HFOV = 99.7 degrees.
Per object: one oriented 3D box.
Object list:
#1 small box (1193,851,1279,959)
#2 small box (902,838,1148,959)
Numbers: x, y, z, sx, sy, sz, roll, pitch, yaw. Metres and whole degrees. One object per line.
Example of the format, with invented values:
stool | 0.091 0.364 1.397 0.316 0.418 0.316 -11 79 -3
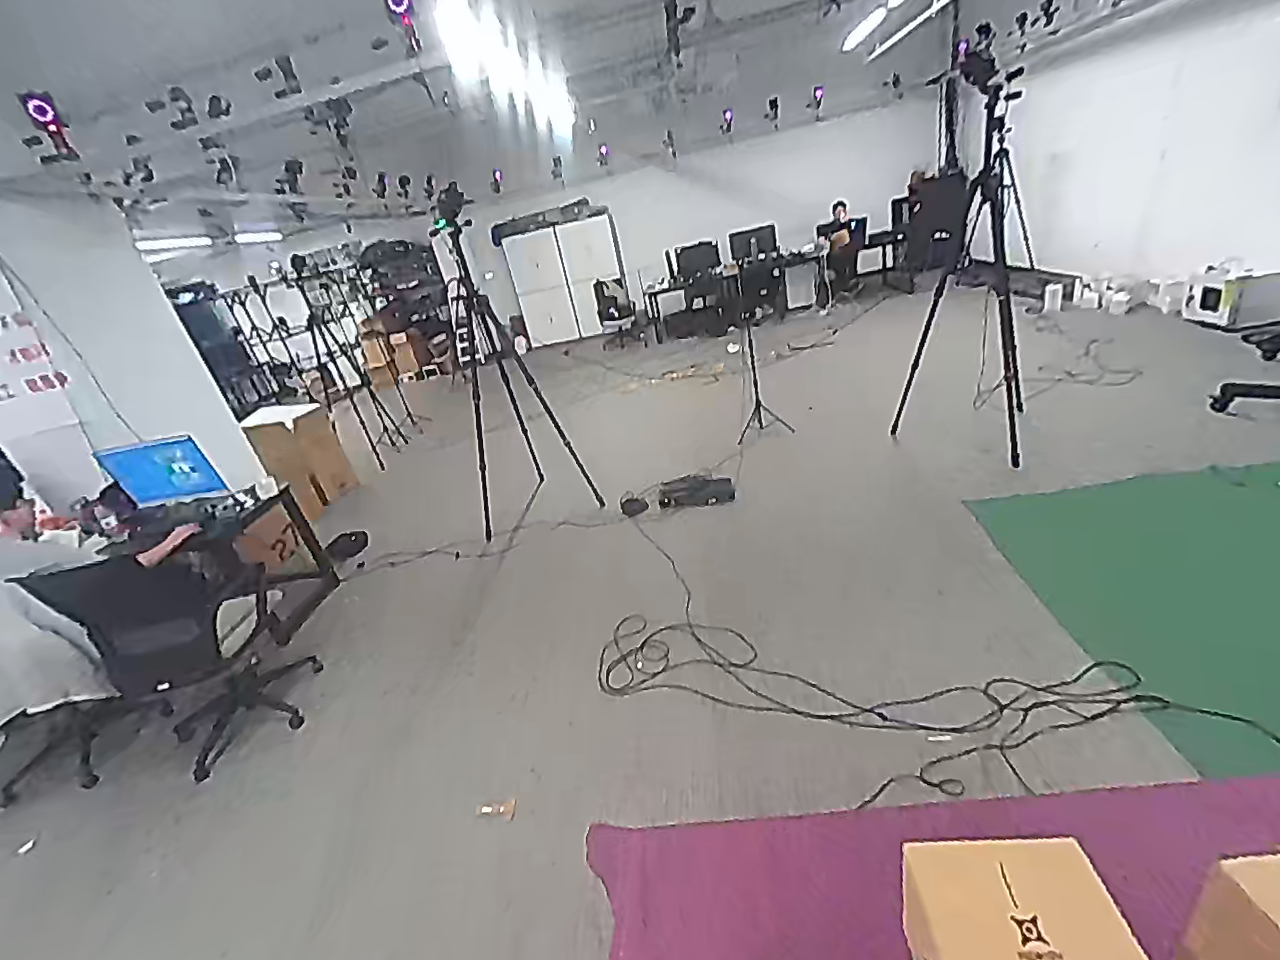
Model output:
small box | 0.625 0.441 0.444 0.168 0.176 0.179 -12 24 5
small box | 0.361 0.476 0.507 0.168 0.176 0.179 -8 25 10
